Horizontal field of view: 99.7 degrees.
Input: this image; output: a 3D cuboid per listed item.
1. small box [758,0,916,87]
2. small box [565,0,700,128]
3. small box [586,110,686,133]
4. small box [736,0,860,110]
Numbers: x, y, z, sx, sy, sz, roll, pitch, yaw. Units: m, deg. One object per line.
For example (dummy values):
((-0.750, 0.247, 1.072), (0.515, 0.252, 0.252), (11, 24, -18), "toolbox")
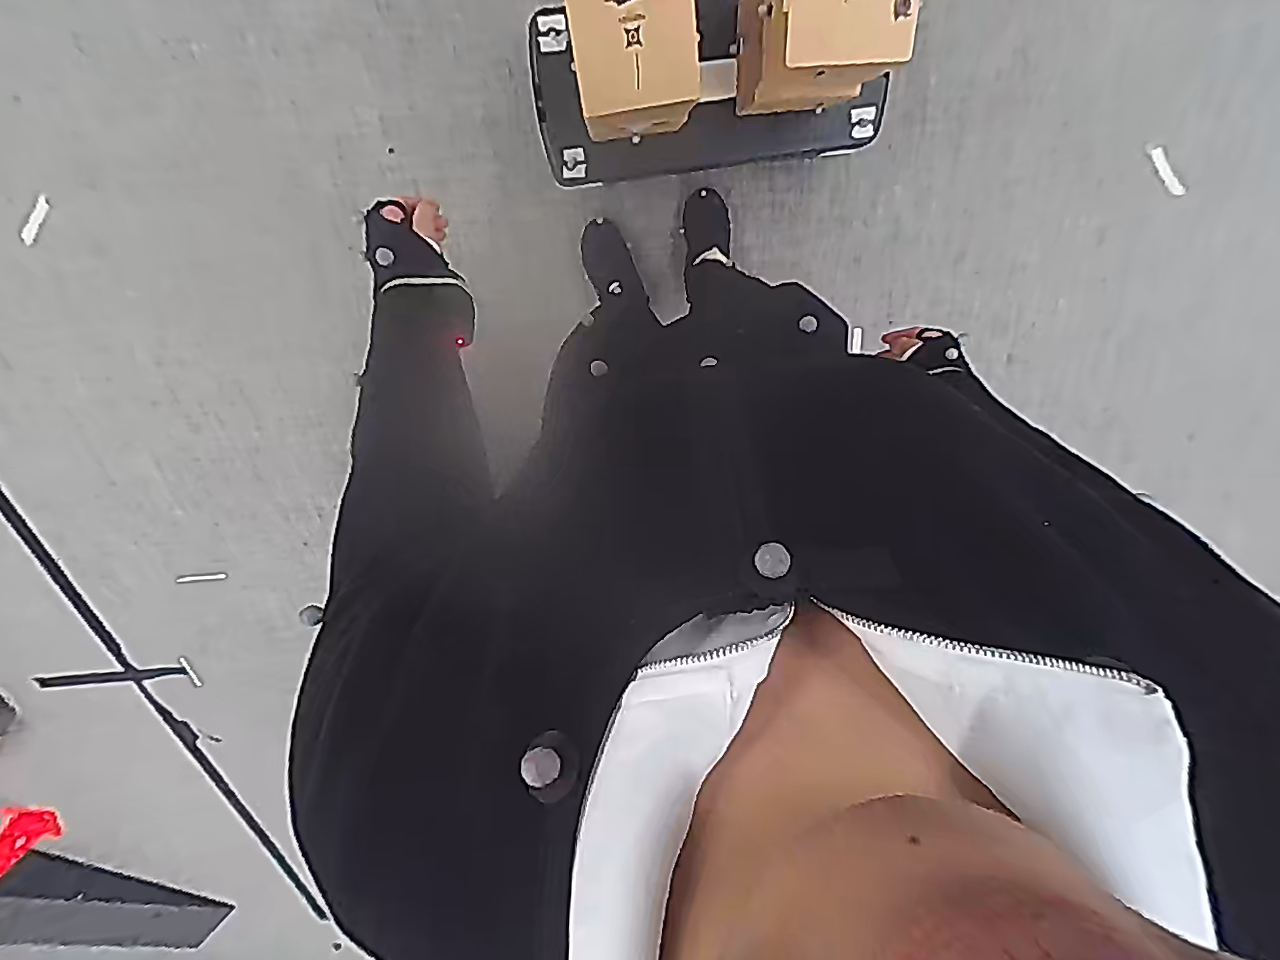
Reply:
((0.268, -0.669, 0.759), (0.179, 0.176, 0.168), (-3, 118, 1), "small box")
((-0.014, -0.621, 0.767), (0.168, 0.176, 0.179), (-9, 119, 2), "small box")
((-0.018, -0.694, 0.914), (0.168, 0.176, 0.179), (-7, 118, 1), "small box")
((0.260, -0.732, 0.909), (0.179, 0.176, 0.168), (-5, 118, 0), "small box")
